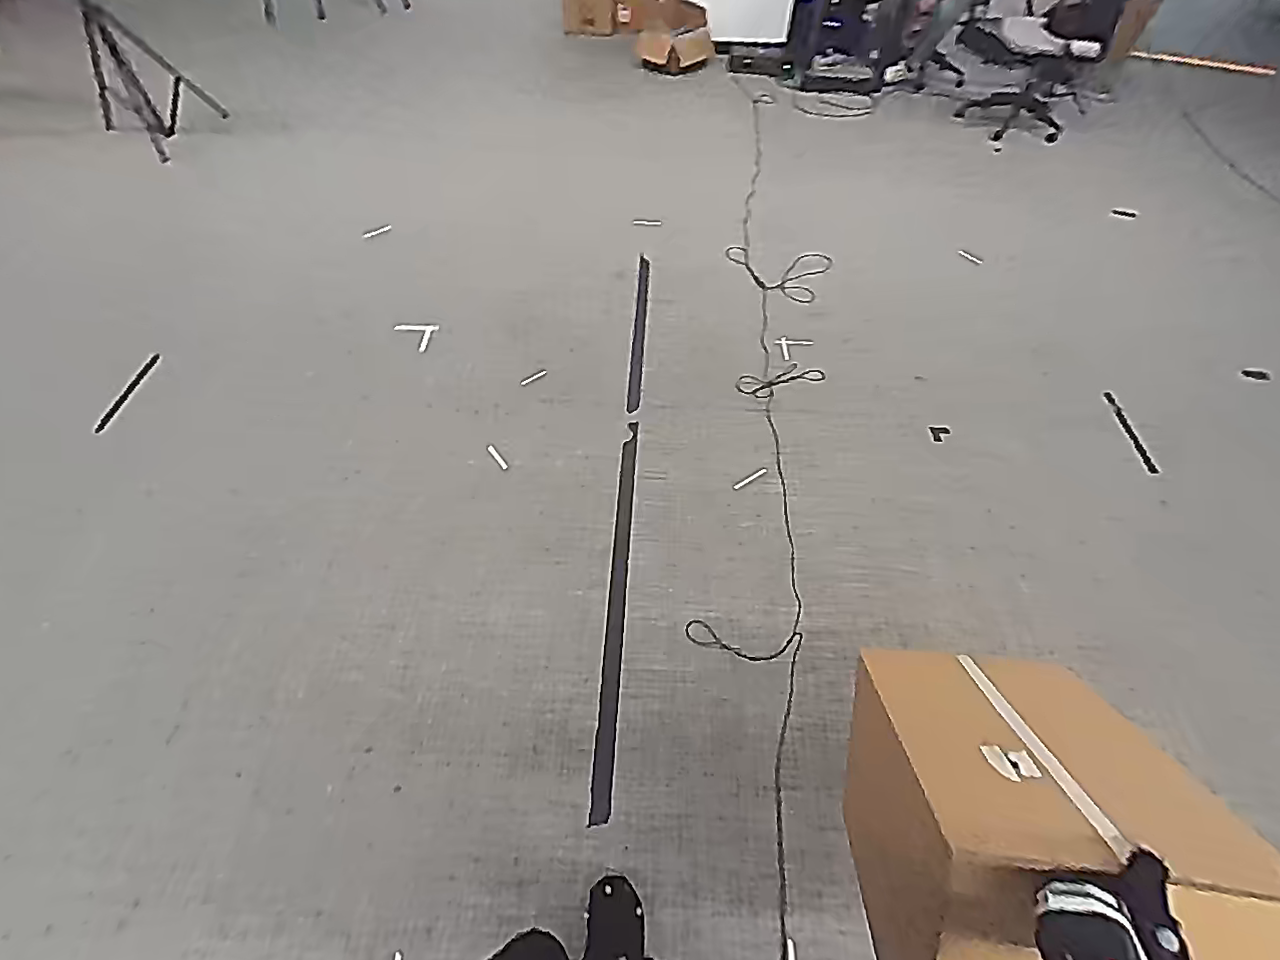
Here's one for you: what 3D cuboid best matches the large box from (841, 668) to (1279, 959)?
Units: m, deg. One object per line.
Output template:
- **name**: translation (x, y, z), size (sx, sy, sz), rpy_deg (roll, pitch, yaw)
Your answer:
- **large box**: translation (0.476, 0.504, 0.701), size (0.320, 0.320, 0.408), rpy_deg (4, 11, 9)
